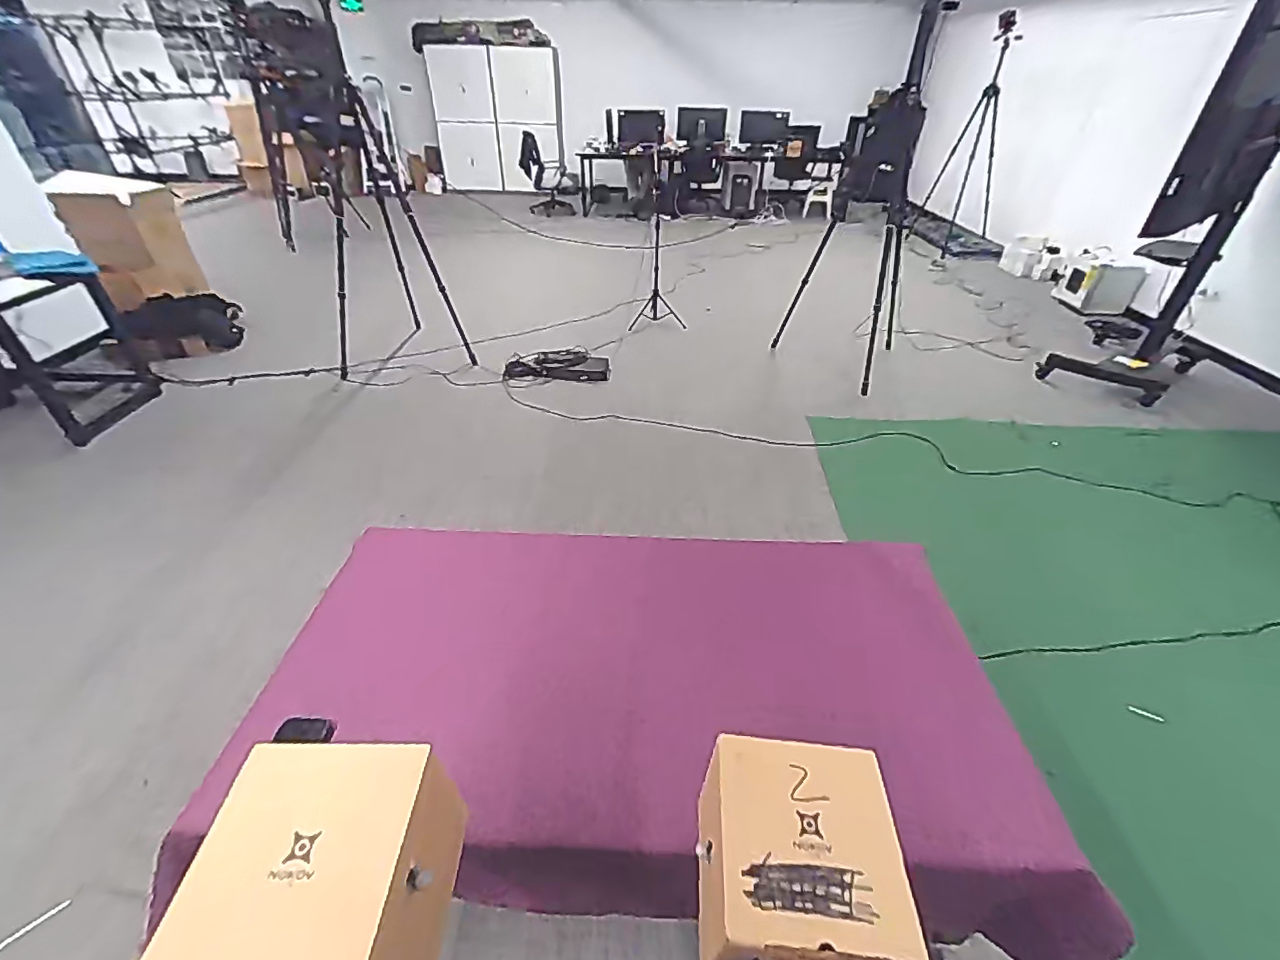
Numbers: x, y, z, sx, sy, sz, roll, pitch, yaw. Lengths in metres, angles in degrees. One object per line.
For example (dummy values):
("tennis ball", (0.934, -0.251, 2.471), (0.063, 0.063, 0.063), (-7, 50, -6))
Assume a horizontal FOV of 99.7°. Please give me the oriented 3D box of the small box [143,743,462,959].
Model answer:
("small box", (-0.270, 0.361, 0.483), (0.168, 0.176, 0.179), (2, 42, 0))
